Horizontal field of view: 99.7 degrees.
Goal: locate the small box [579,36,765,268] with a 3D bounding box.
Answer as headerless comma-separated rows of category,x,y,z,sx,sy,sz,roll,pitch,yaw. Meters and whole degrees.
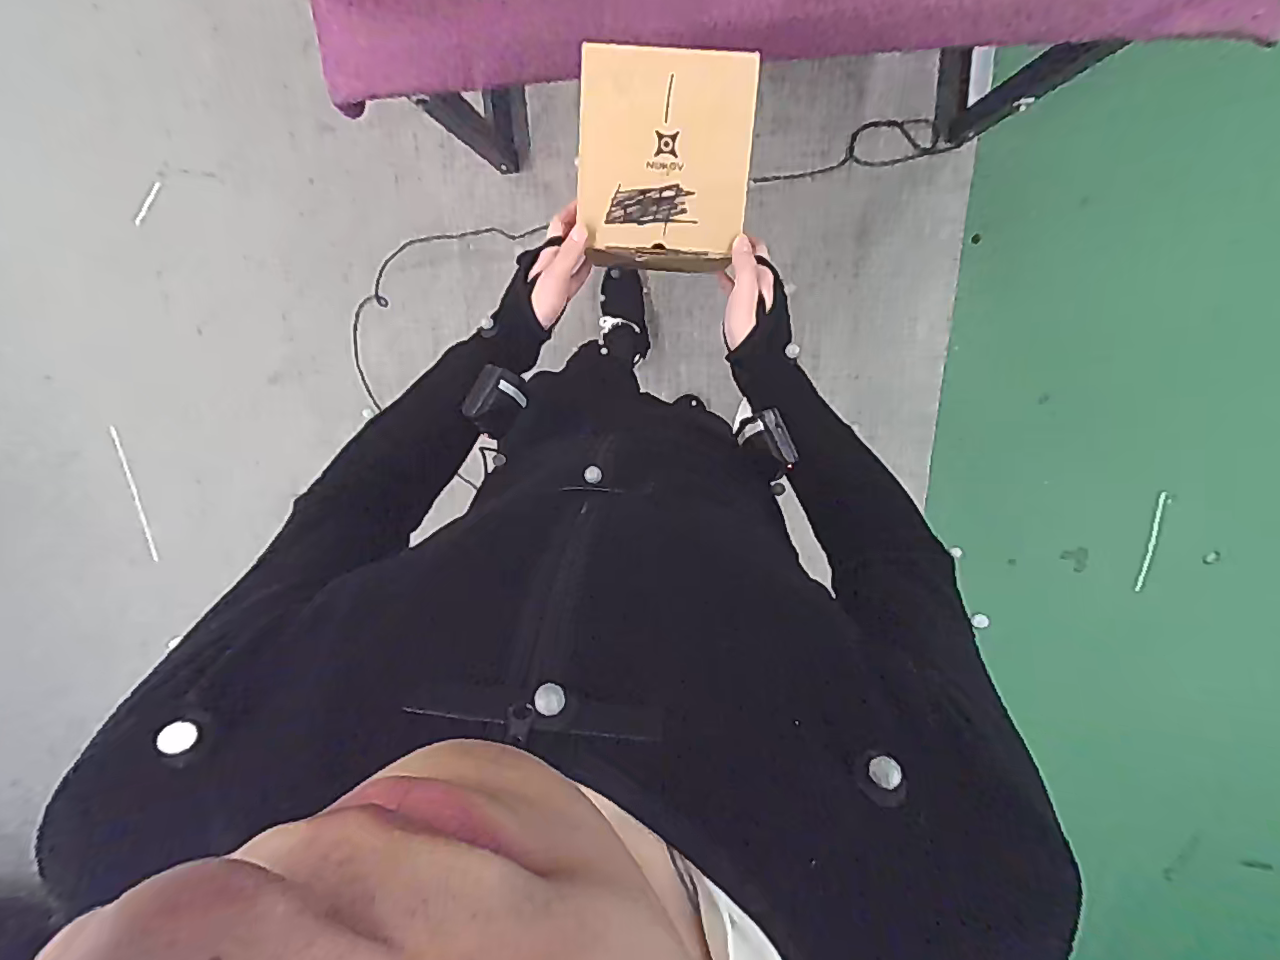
small box,0.030,-0.333,0.587,0.168,0.176,0.179,4,105,0
